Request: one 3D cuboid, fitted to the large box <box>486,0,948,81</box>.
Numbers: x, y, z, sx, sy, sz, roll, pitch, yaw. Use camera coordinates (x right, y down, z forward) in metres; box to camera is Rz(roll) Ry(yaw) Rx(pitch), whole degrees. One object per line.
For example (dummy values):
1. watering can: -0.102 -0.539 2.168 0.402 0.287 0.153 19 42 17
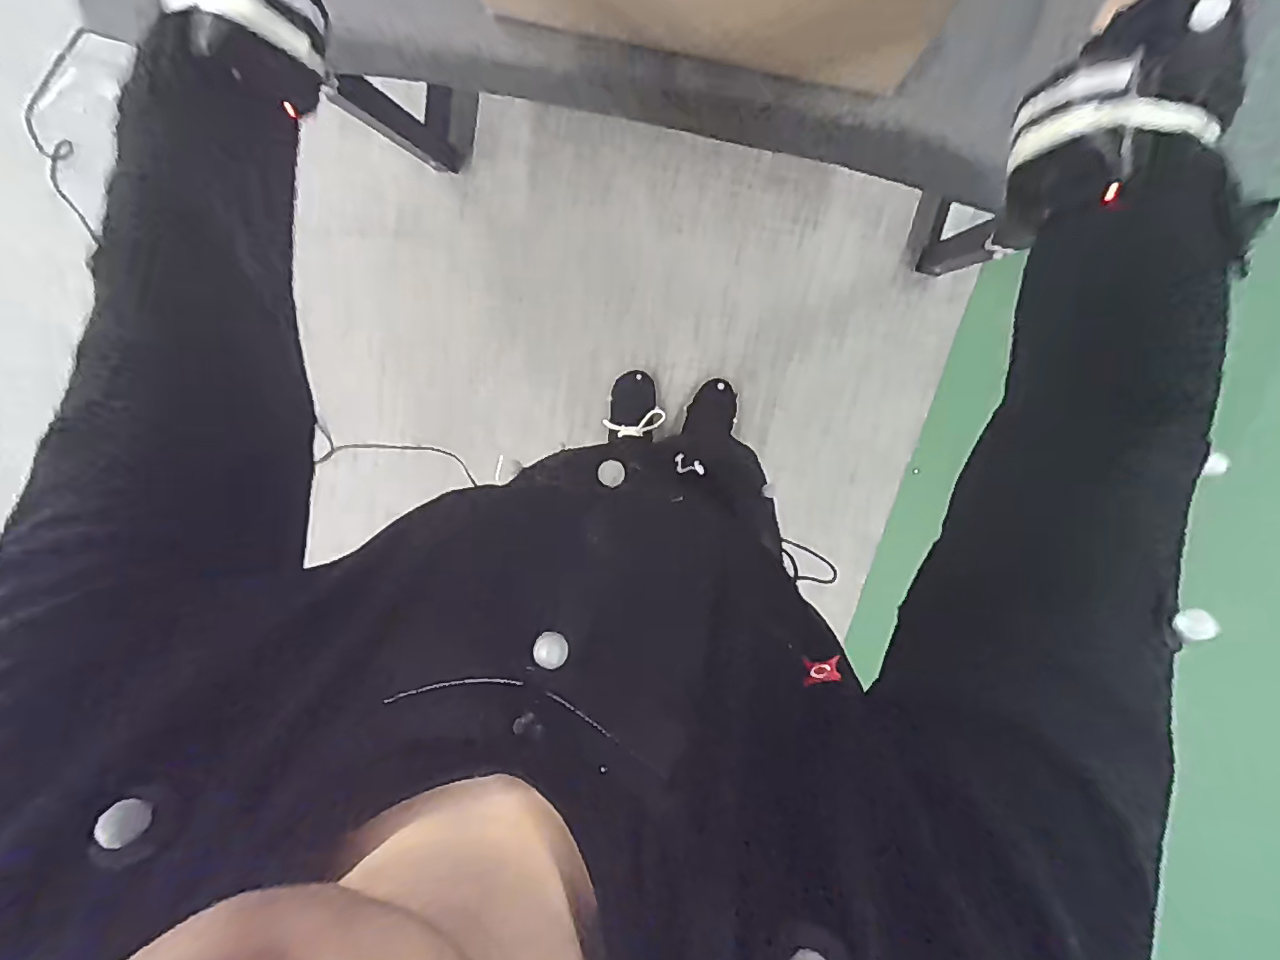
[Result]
1. large box: 0.062 -0.531 0.346 0.408 0.320 0.320 13 104 2
